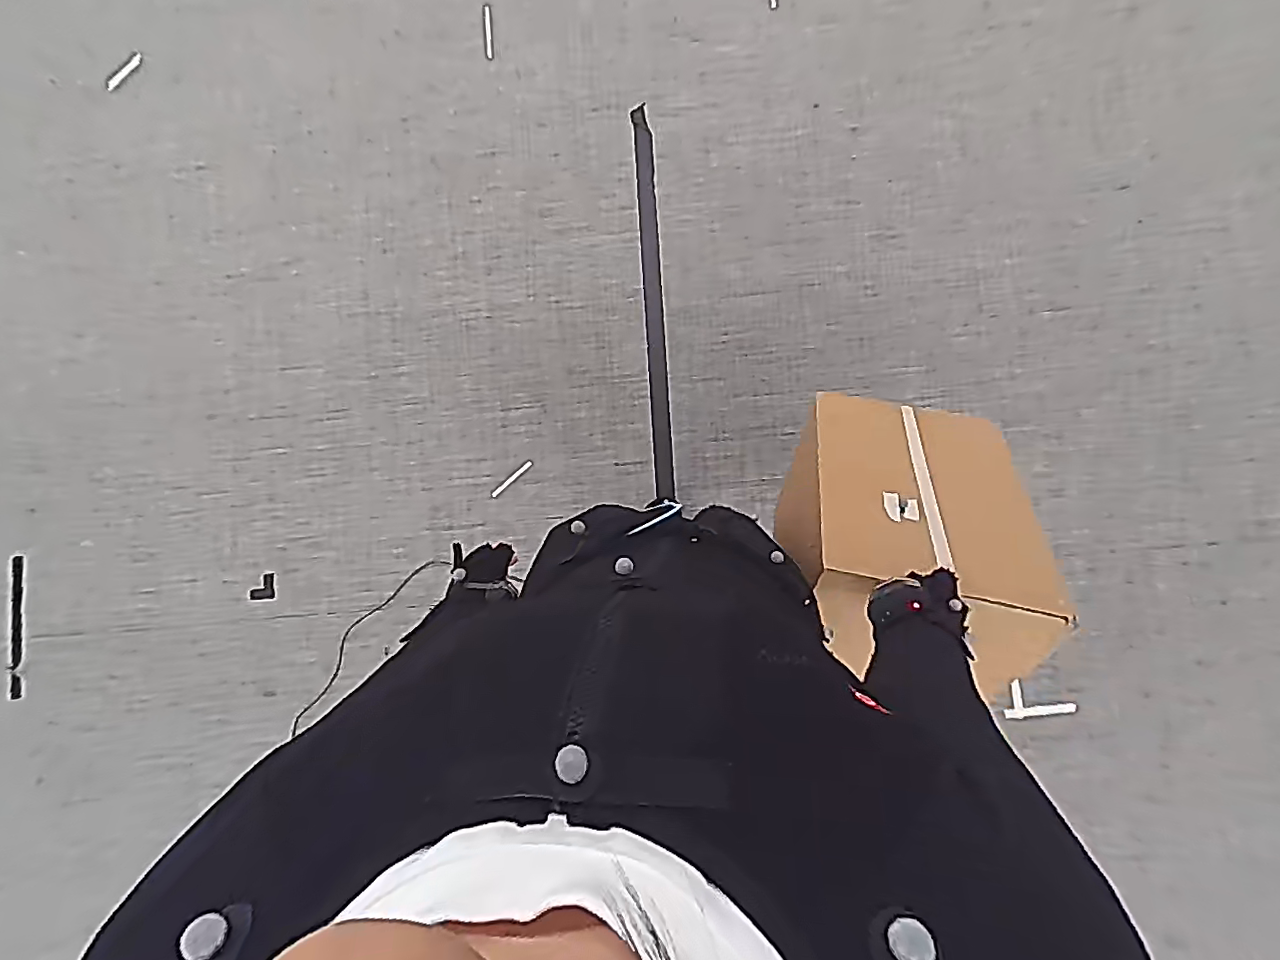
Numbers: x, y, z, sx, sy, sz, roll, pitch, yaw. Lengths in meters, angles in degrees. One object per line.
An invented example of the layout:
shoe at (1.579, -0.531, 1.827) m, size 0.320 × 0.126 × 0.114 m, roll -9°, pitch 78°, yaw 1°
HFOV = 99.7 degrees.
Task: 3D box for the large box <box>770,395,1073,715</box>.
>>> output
large box at (0.411, 0.116, 0.920) m, size 0.320 × 0.320 × 0.408 m, roll 10°, pitch 45°, yaw 6°
